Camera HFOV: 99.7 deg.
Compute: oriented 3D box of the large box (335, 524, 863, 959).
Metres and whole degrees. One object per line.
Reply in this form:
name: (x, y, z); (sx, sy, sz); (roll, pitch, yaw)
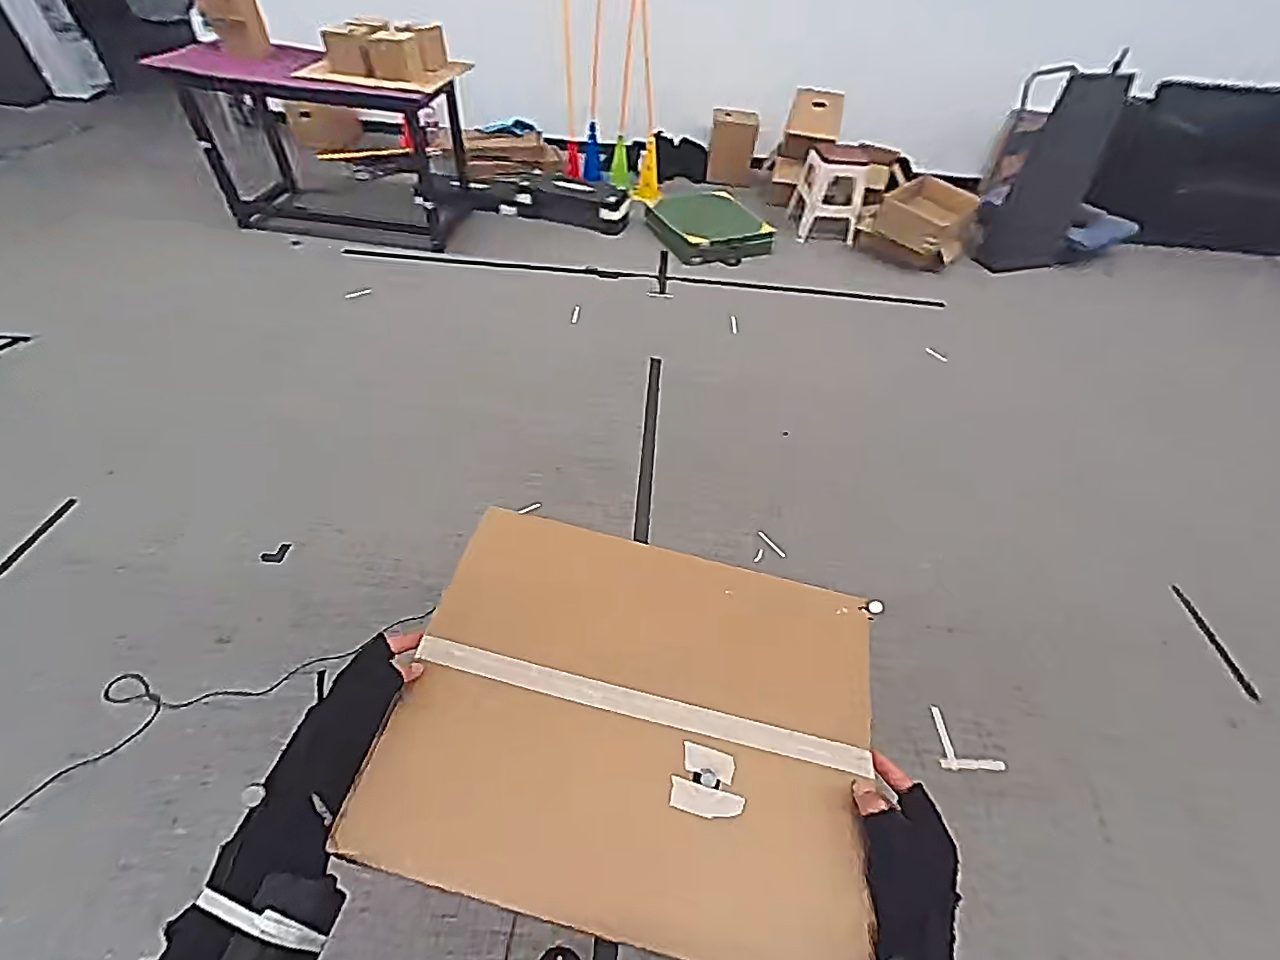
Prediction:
large box: (-0.020, 0.293, 0.597); (0.408, 0.320, 0.320); (14, 55, 3)
